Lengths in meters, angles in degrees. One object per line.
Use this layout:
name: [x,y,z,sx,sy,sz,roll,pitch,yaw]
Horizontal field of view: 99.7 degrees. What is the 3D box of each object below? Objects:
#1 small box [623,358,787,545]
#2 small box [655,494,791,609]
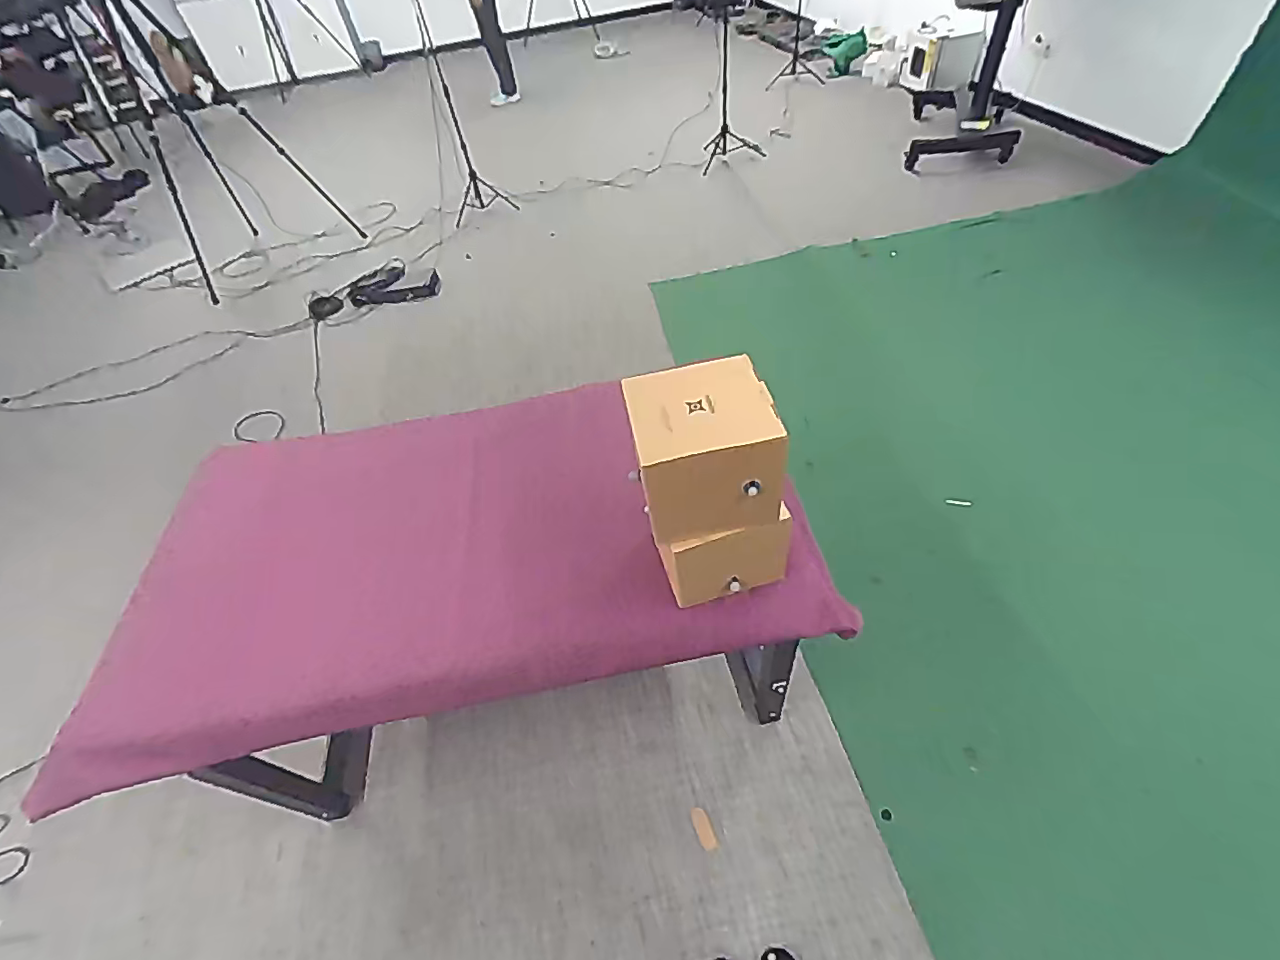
small box: [0.082,-0.035,0.729,0.179,0.176,0.168,-12,48,0]
small box: [0.115,0.075,0.846,0.179,0.176,0.168,-16,48,-5]
